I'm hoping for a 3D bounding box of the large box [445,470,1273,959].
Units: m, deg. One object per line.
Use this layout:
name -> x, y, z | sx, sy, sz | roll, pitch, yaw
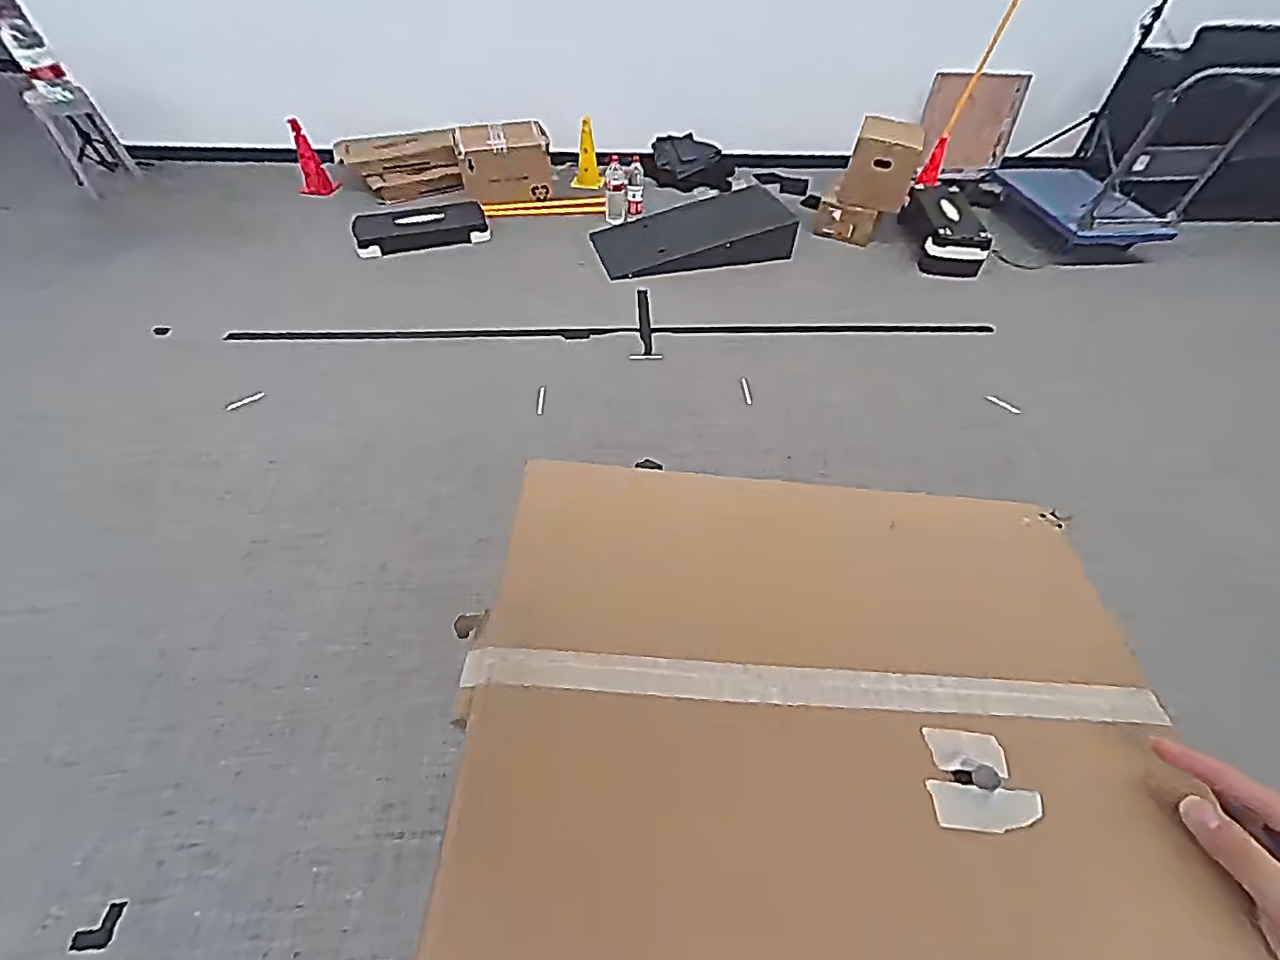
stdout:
large box -> 0.095, 0.219, 0.439 | 0.408, 0.320, 0.320 | 6, 51, -4
